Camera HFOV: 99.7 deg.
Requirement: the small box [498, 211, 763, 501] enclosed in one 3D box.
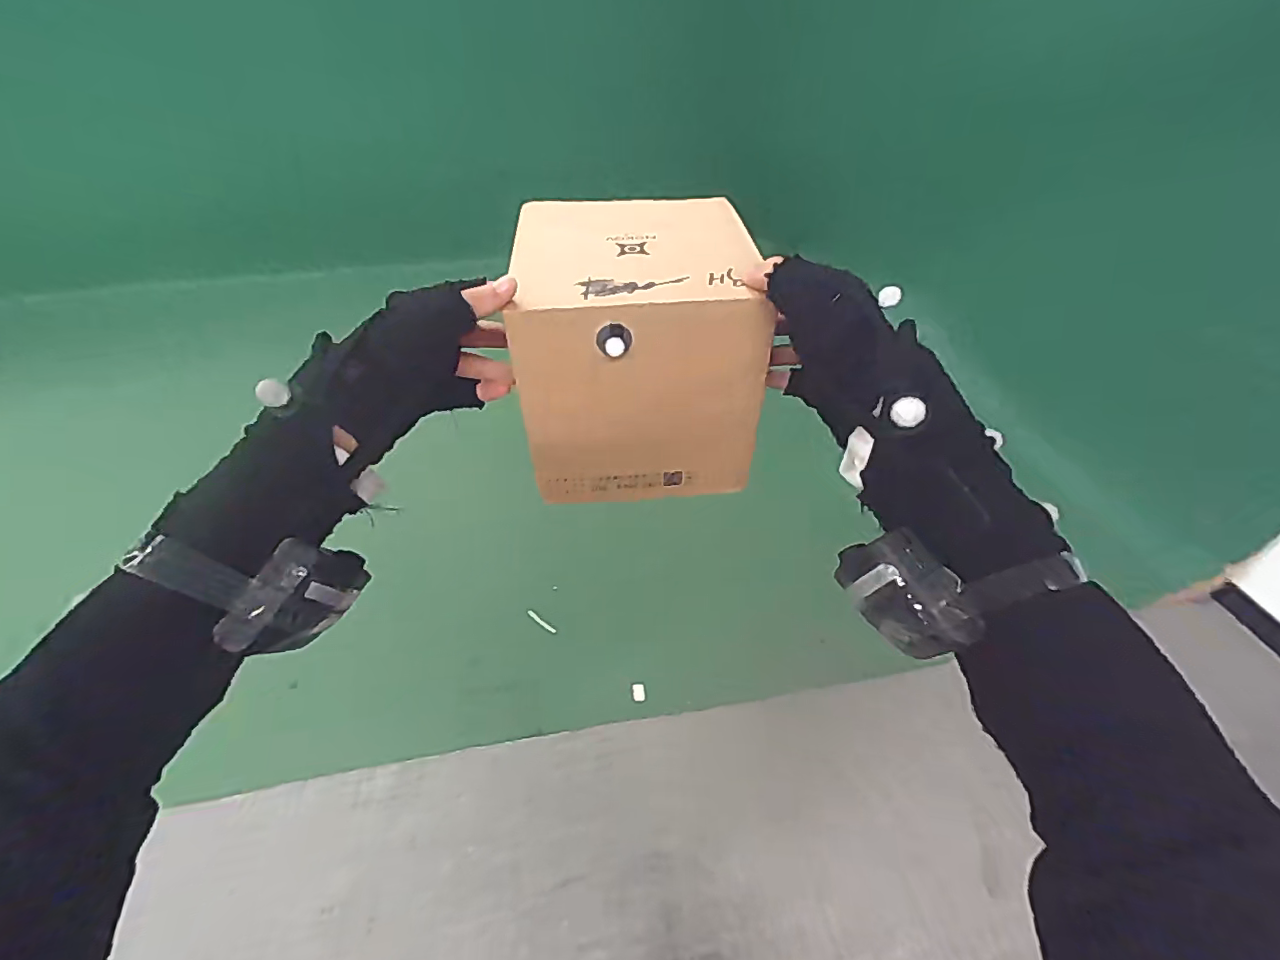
[{"bbox_3d":[-0.011,-0.103,0.444,0.168,0.176,0.179,-4,44,-3],"label":"small box"}]
